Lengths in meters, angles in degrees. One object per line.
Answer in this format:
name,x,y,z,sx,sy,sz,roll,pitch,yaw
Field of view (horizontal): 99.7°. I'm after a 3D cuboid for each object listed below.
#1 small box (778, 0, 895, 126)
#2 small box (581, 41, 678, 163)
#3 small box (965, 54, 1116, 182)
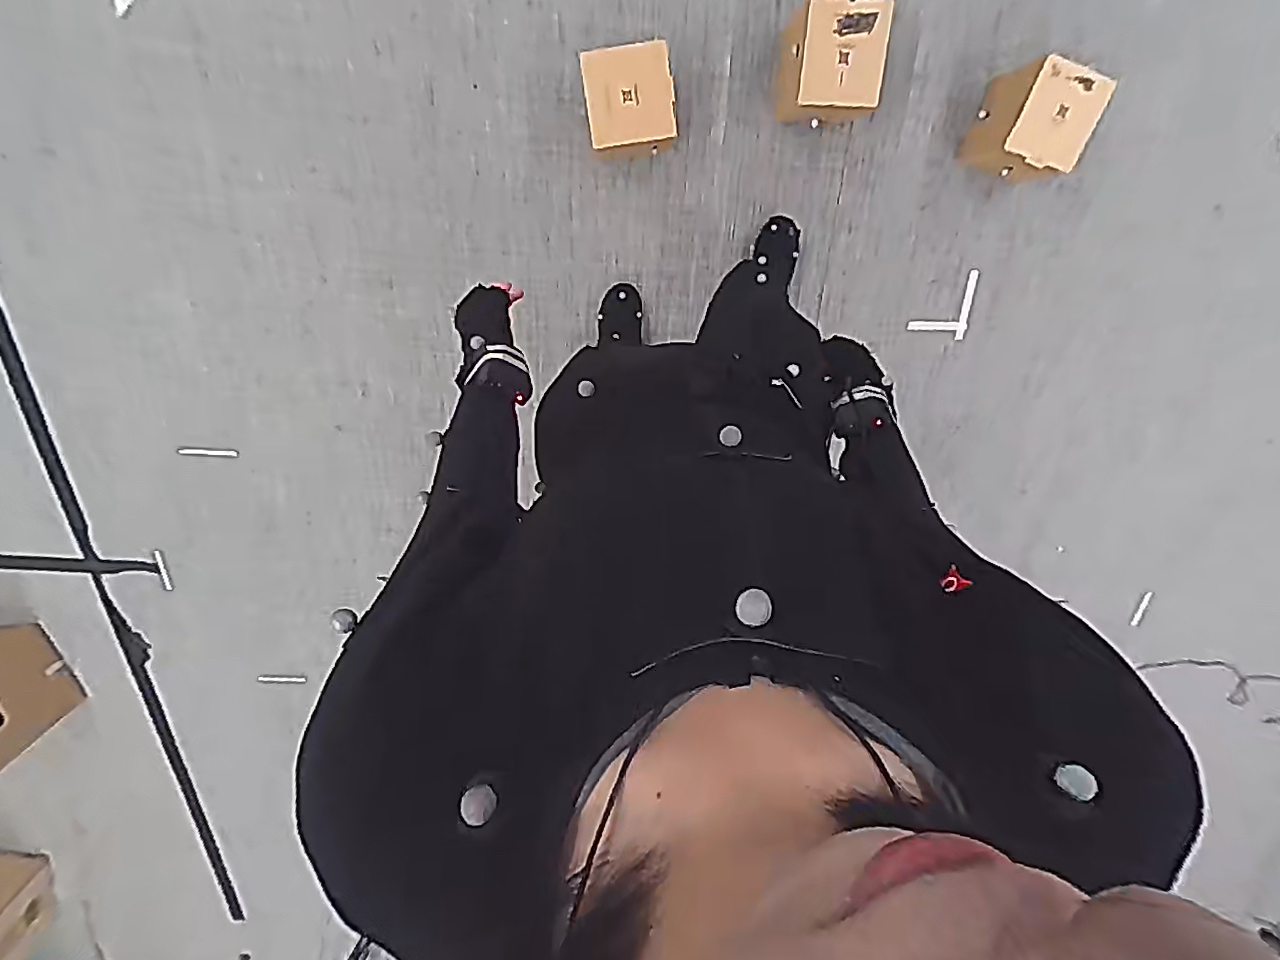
small box,0.396,-0.859,1.122,0.168,0.176,0.179,1,114,-3
small box,-0.021,-0.786,1.140,0.179,0.176,0.168,-8,112,2
small box,0.854,-0.773,1.178,0.168,0.176,0.179,15,112,-9
